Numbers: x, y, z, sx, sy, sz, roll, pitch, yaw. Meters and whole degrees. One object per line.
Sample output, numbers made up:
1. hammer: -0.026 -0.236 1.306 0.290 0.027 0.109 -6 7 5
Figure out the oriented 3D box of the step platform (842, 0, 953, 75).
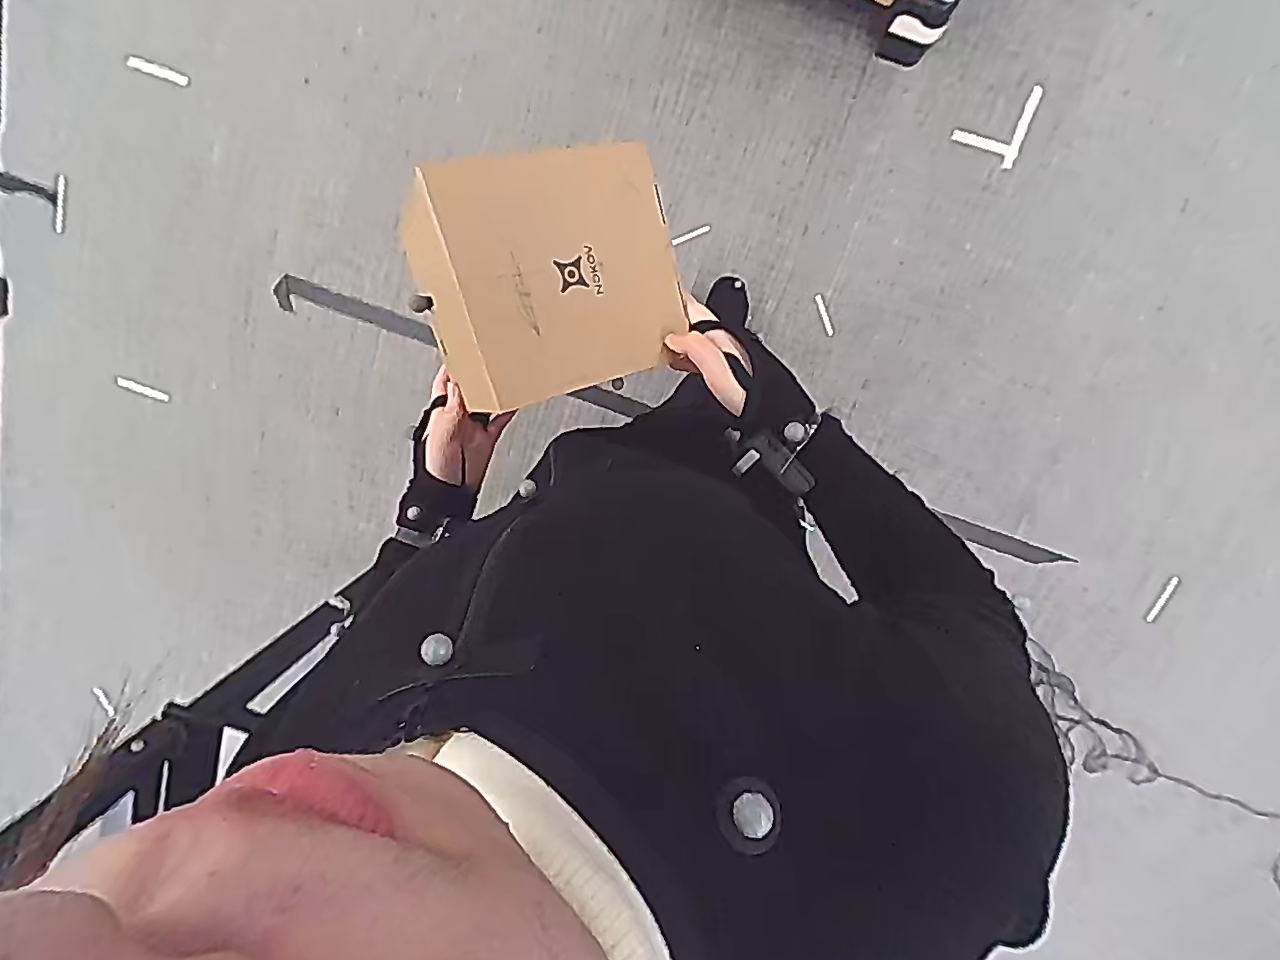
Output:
1. step platform: 0.343 -1.145 1.091 0.684 0.204 0.286 25 104 -1
